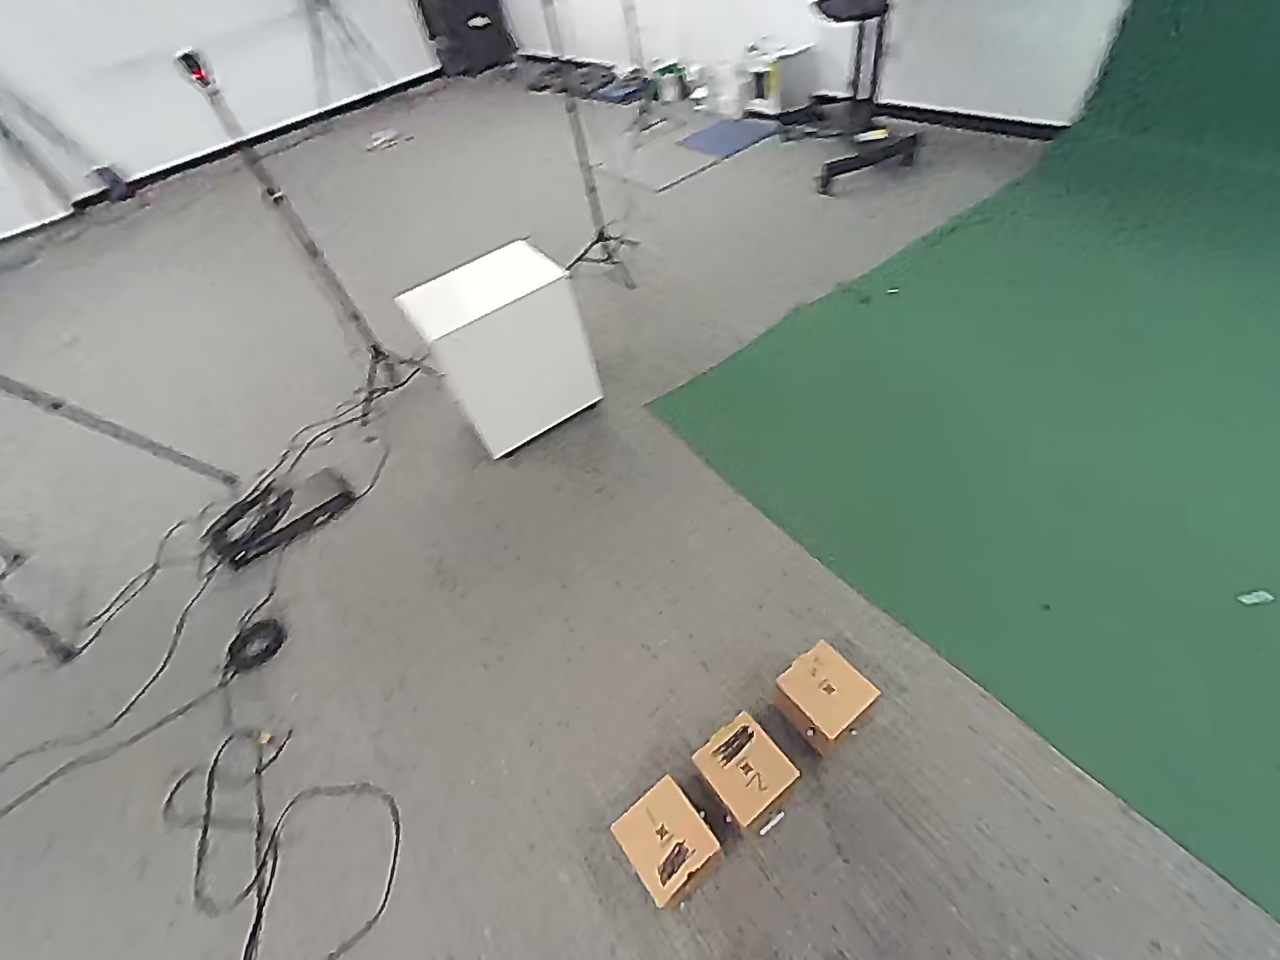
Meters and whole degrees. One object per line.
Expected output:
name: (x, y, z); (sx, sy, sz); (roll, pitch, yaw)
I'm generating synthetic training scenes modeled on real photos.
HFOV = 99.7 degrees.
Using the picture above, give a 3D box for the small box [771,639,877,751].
small box: (0.440, 0.530, 1.316); (0.168, 0.176, 0.179); (-33, 51, -17)

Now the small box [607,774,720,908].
small box: (0.058, 0.786, 1.177); (0.168, 0.176, 0.179); (-35, 50, -17)
